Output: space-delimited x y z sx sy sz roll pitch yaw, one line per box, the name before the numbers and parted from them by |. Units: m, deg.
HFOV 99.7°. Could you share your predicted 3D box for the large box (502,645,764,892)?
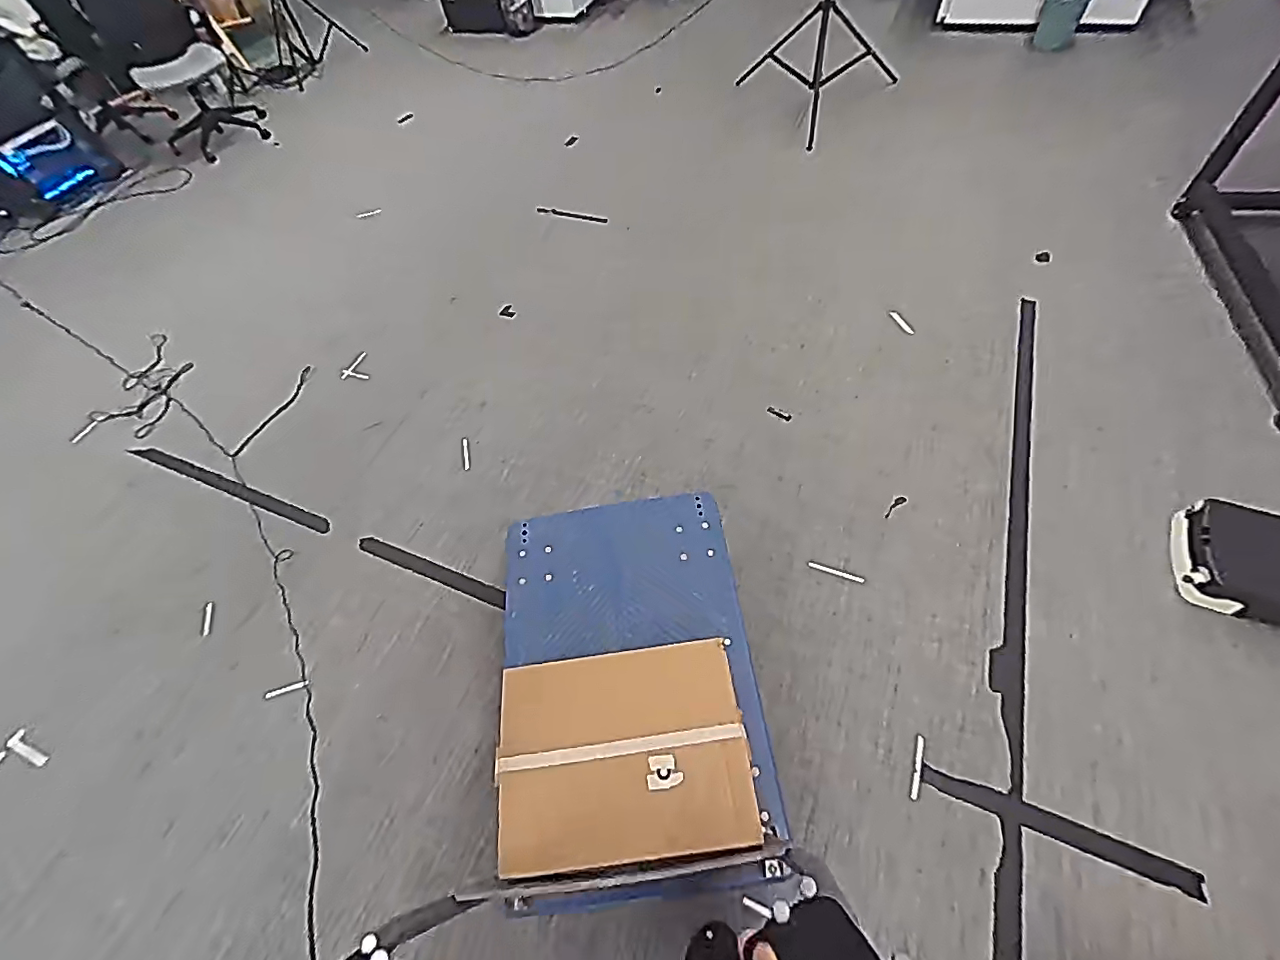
large box | -0.017 0.533 1.002 0.408 0.320 0.320 -9 56 1
